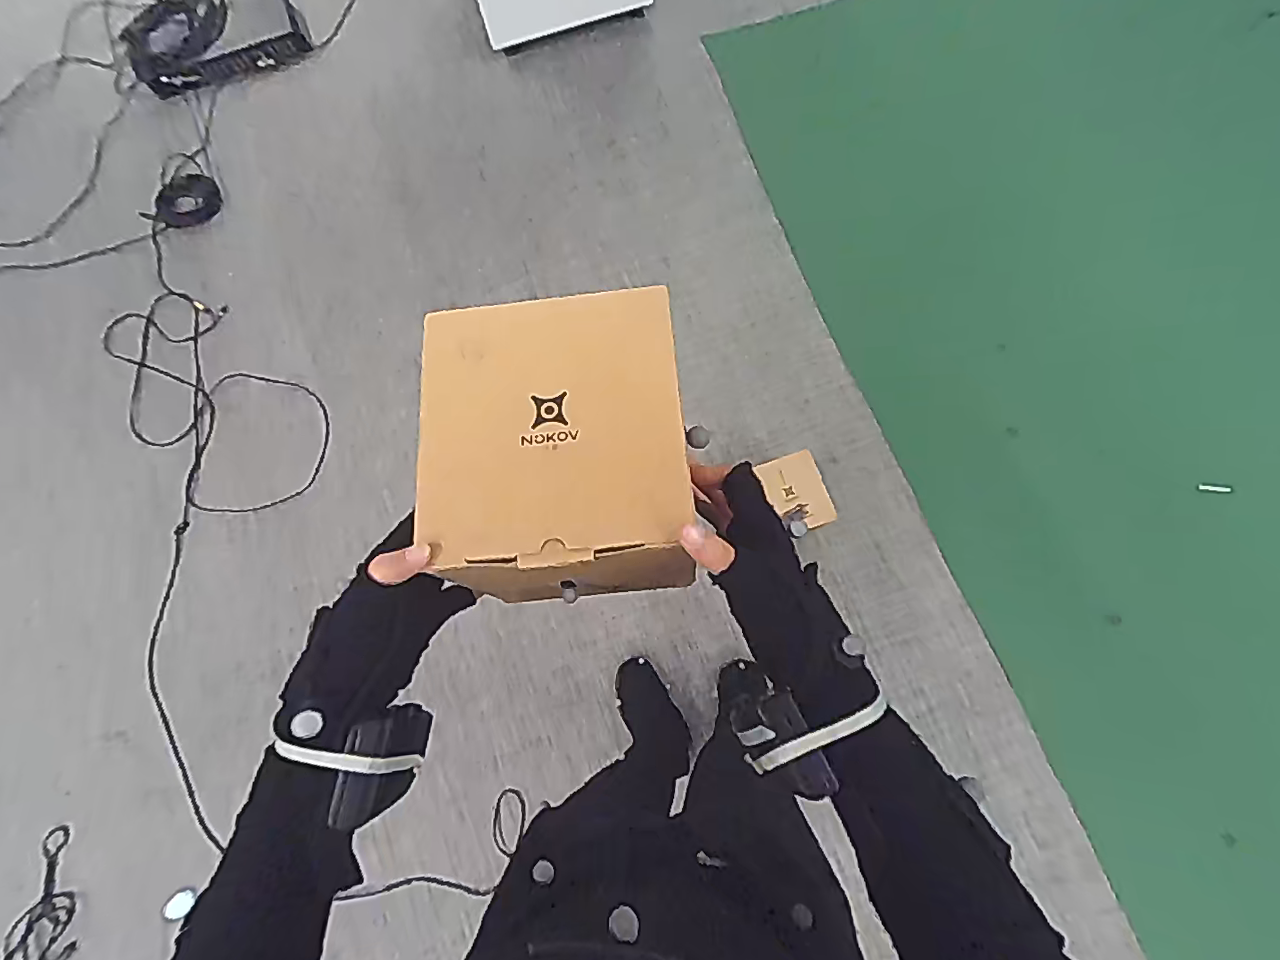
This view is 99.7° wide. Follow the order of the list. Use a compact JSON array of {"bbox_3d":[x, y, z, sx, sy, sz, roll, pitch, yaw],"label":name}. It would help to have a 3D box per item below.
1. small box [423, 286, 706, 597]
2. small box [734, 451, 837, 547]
[{"bbox_3d":[-0.045,-0.015,0.411,0.168,0.176,0.179,-6,71,2],"label":"small box"},{"bbox_3d":[0.335,0.053,1.280,0.168,0.176,0.179,-18,77,-3],"label":"small box"}]
